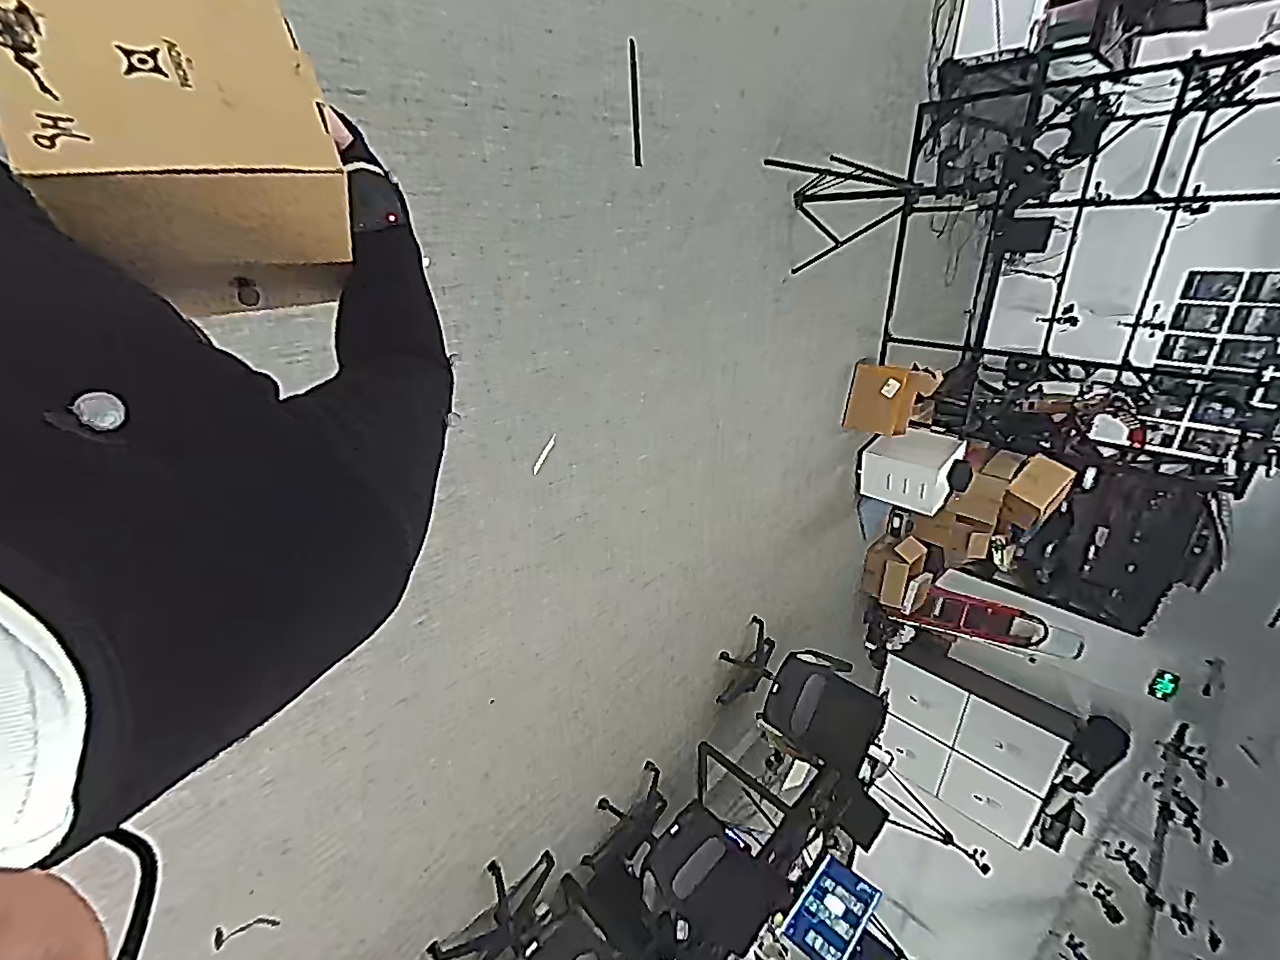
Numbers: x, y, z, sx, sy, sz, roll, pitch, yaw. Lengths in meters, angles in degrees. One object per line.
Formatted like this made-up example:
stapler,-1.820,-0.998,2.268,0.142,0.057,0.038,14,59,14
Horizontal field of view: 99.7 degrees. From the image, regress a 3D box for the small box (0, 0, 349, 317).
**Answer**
small box,-0.355,-0.255,0.441,0.179,0.176,0.168,-19,83,-29
